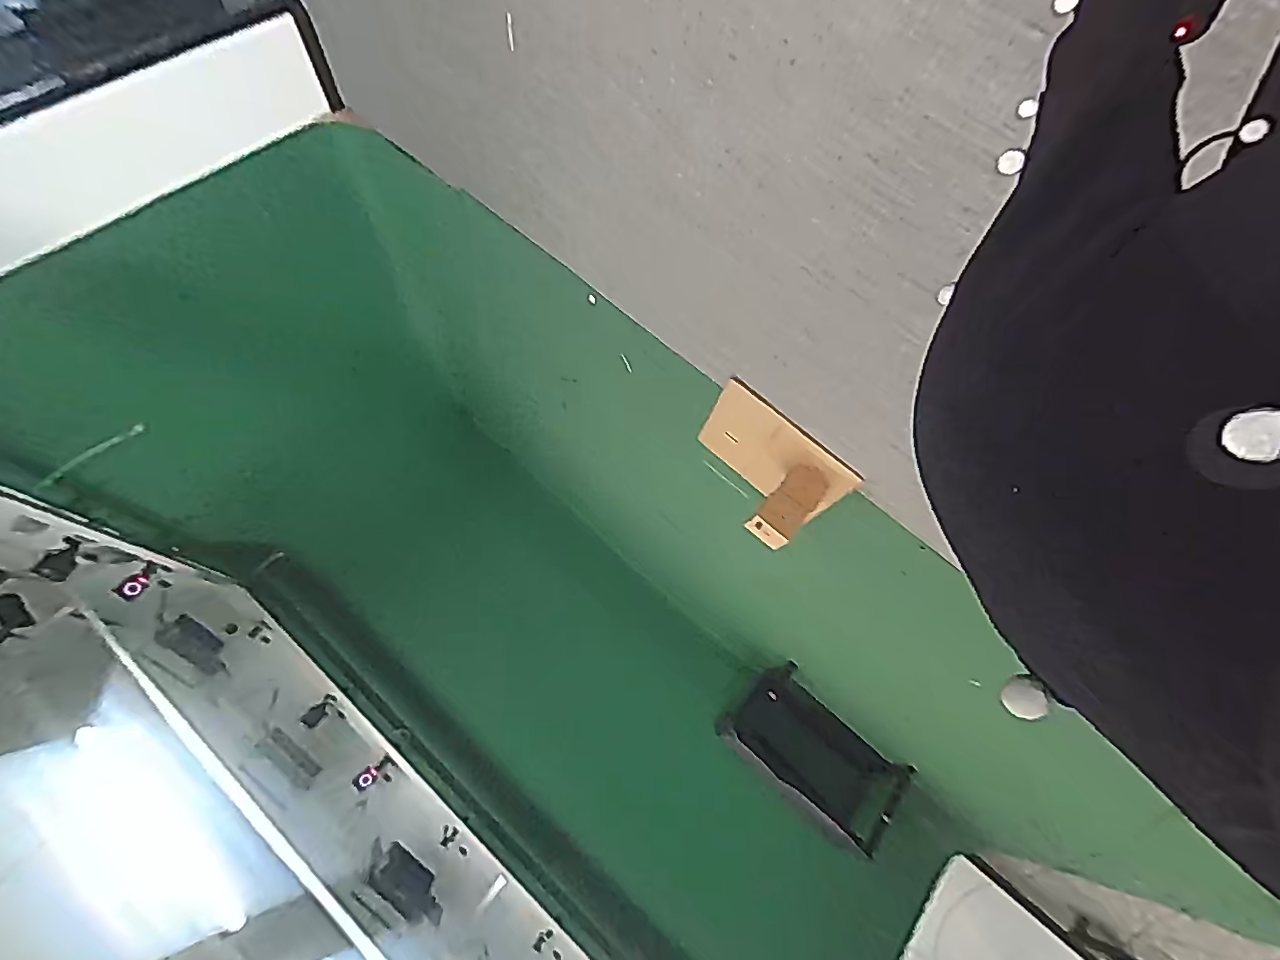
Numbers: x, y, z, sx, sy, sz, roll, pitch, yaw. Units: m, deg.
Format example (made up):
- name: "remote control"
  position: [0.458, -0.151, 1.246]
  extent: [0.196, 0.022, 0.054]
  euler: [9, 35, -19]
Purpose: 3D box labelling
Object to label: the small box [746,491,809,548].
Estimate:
- name: "small box"
  position: [0.604, 0.167, 2.370]
  extent: [0.179, 0.176, 0.168]
  euler: [39, 158, 5]
